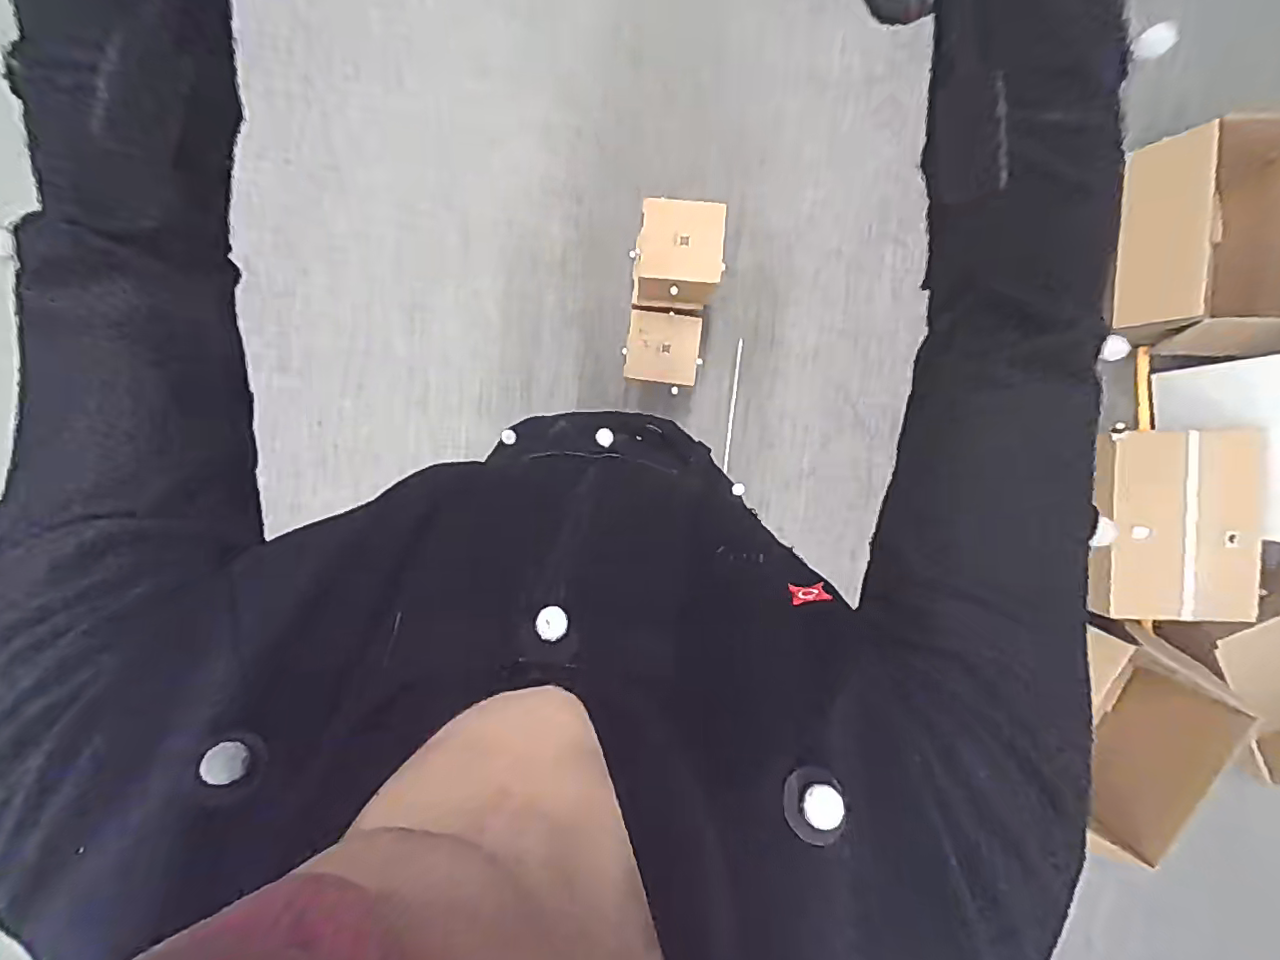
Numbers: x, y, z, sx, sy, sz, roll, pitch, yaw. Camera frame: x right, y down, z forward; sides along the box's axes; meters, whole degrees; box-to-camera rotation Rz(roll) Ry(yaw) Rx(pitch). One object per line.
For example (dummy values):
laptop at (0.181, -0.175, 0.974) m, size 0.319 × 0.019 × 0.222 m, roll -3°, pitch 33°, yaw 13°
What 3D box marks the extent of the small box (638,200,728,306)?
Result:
small box at (0.089, -0.495, 1.204) m, size 0.179 × 0.176 × 0.168 m, roll 5°, pitch 93°, yaw 0°
